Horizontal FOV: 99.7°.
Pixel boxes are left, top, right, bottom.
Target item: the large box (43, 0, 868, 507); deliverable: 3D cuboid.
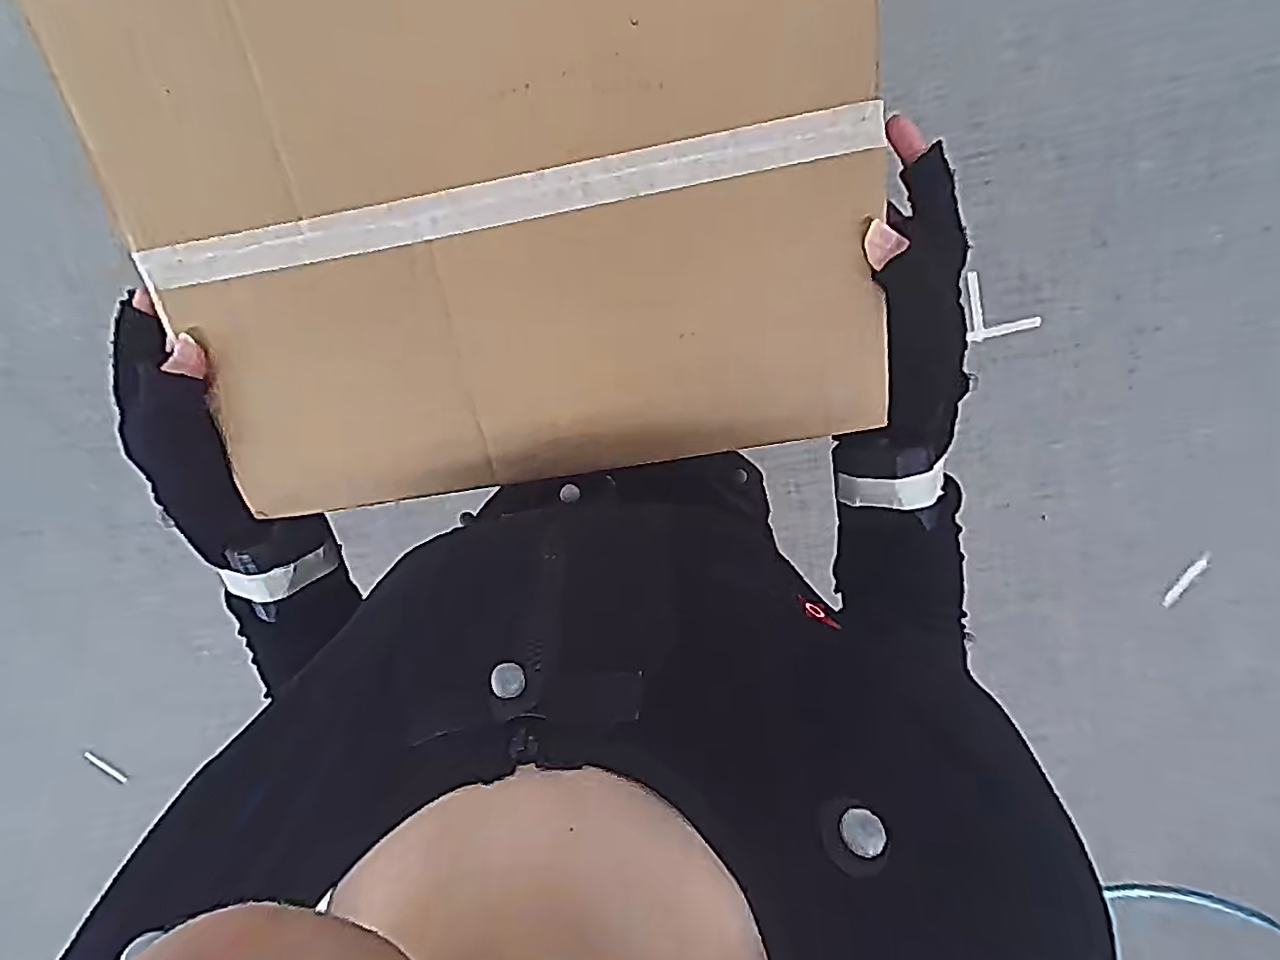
[{"bbox_3d":[-0.075,-0.206,0.435,0.408,0.320,0.320,-8,110,5],"label":"large box"}]
